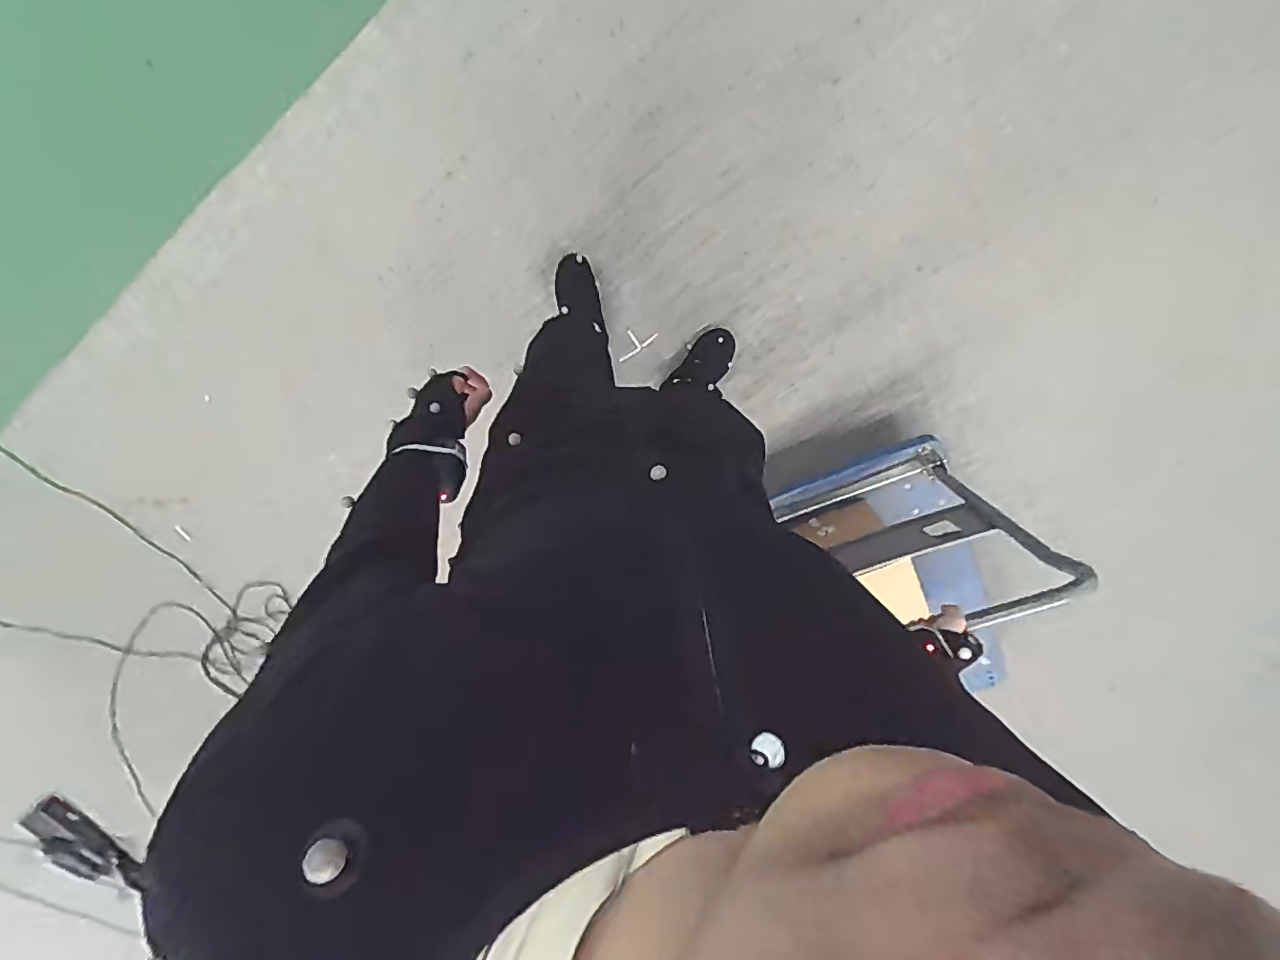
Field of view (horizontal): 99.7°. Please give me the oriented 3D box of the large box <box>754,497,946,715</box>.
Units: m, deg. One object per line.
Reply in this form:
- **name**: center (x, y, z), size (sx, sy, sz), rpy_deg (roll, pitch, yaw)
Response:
- **large box**: center (0.532, 0.320, 1.422), size (0.320, 0.320, 0.408), rpy_deg (-23, 110, 13)
